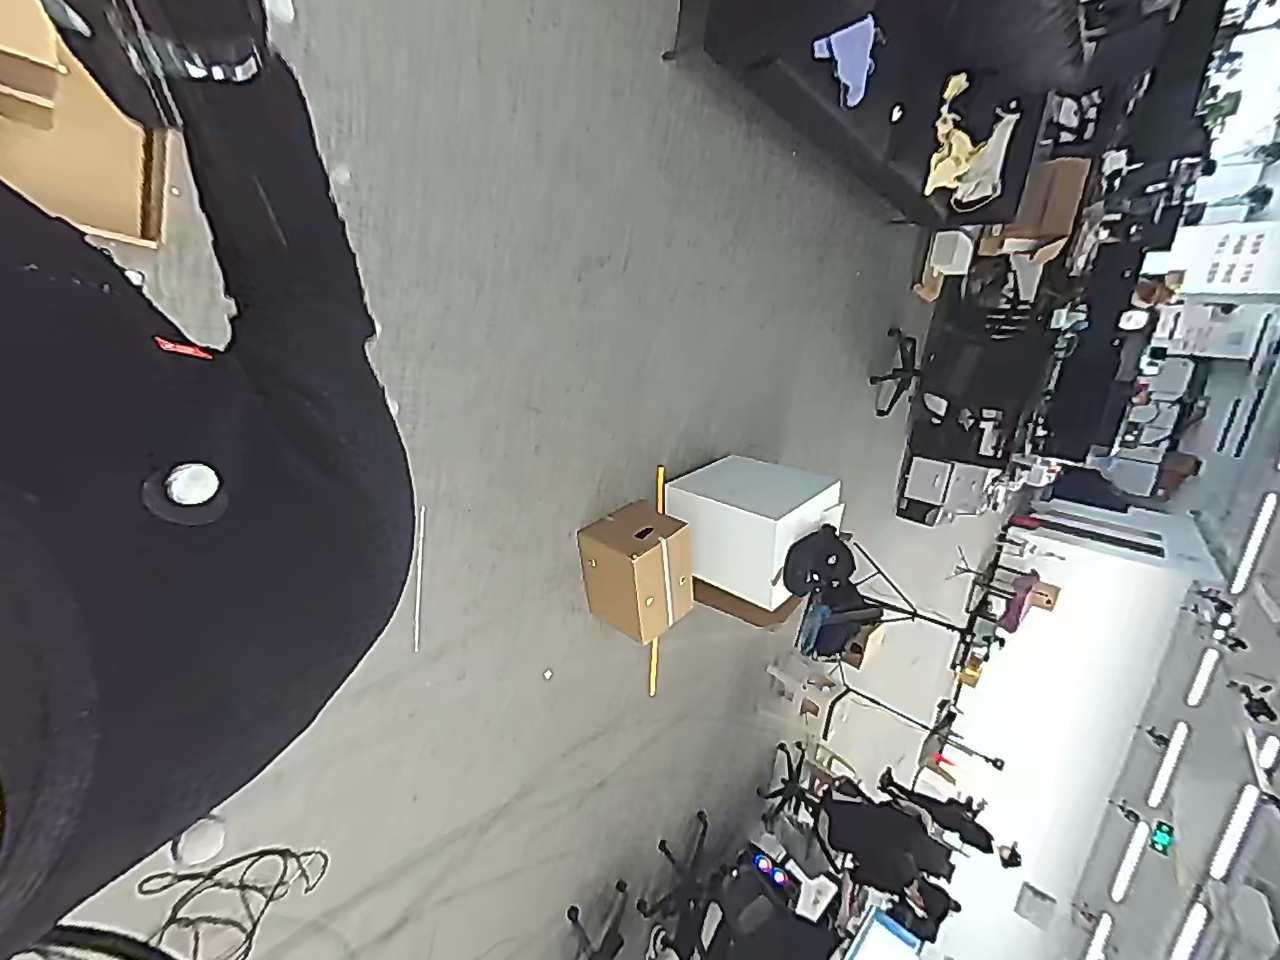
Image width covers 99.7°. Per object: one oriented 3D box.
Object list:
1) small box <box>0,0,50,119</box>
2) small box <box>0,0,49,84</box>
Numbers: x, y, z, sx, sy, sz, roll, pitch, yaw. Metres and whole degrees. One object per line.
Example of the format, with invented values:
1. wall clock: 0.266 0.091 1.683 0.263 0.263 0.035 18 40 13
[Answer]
1. small box: -0.971 -0.660 0.773 0.168 0.176 0.179 -2 105 -48
2. small box: -0.852 -0.630 0.663 0.168 0.176 0.179 -7 107 -48
